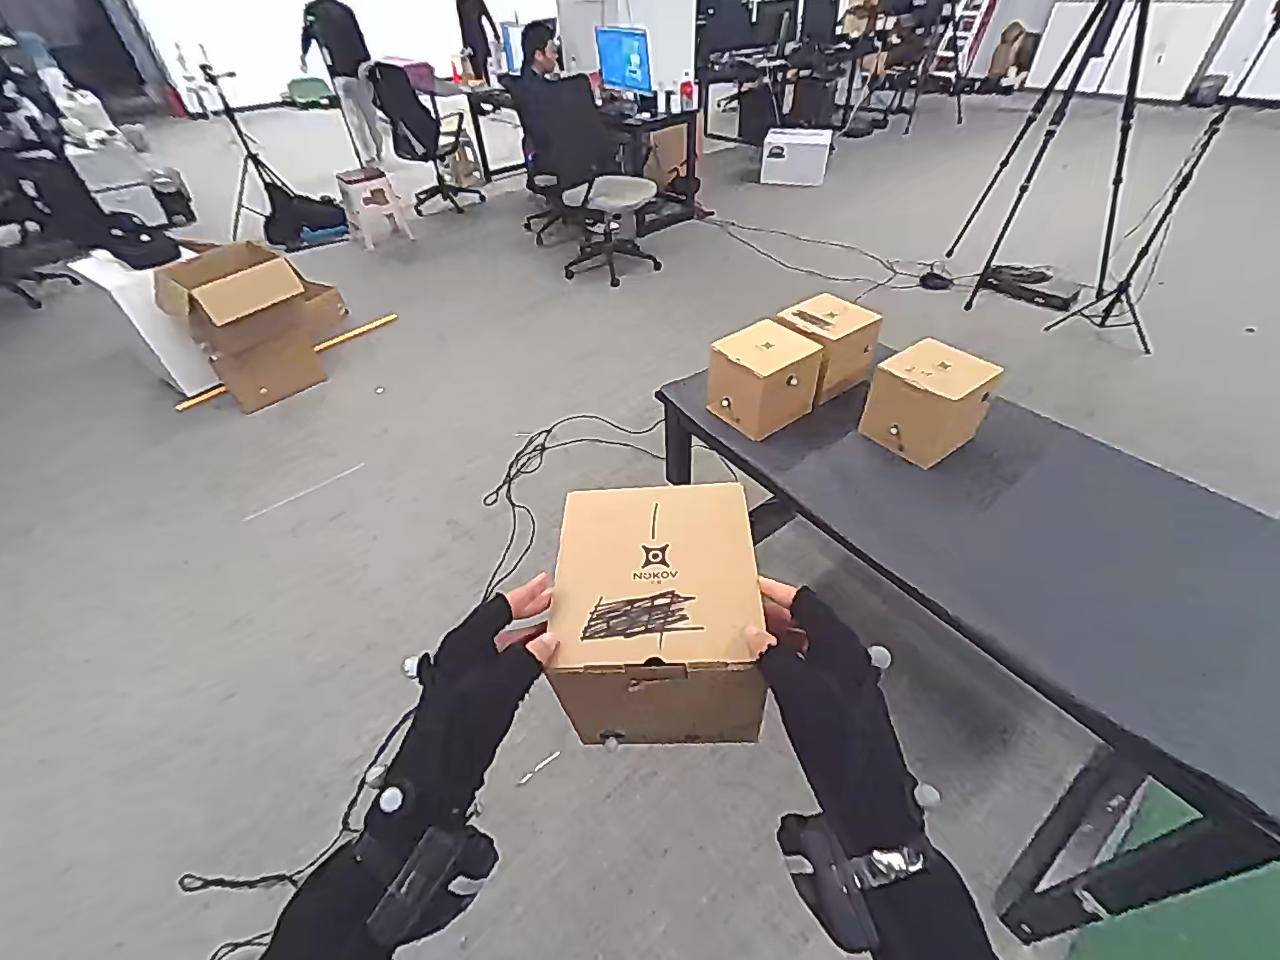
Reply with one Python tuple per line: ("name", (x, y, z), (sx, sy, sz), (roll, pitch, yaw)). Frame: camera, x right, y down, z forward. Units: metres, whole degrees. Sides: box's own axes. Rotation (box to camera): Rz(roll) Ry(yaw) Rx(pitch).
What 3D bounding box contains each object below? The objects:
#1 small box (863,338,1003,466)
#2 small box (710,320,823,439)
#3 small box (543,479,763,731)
("small box", (0.586, -0.160, 1.105), (0.179, 0.176, 0.168), (-28, 48, -23))
("small box", (0.267, -0.222, 1.188), (0.179, 0.176, 0.168), (-28, 49, -23))
("small box", (0.018, 0.122, 0.503), (0.168, 0.176, 0.179), (-4, 47, 4))
